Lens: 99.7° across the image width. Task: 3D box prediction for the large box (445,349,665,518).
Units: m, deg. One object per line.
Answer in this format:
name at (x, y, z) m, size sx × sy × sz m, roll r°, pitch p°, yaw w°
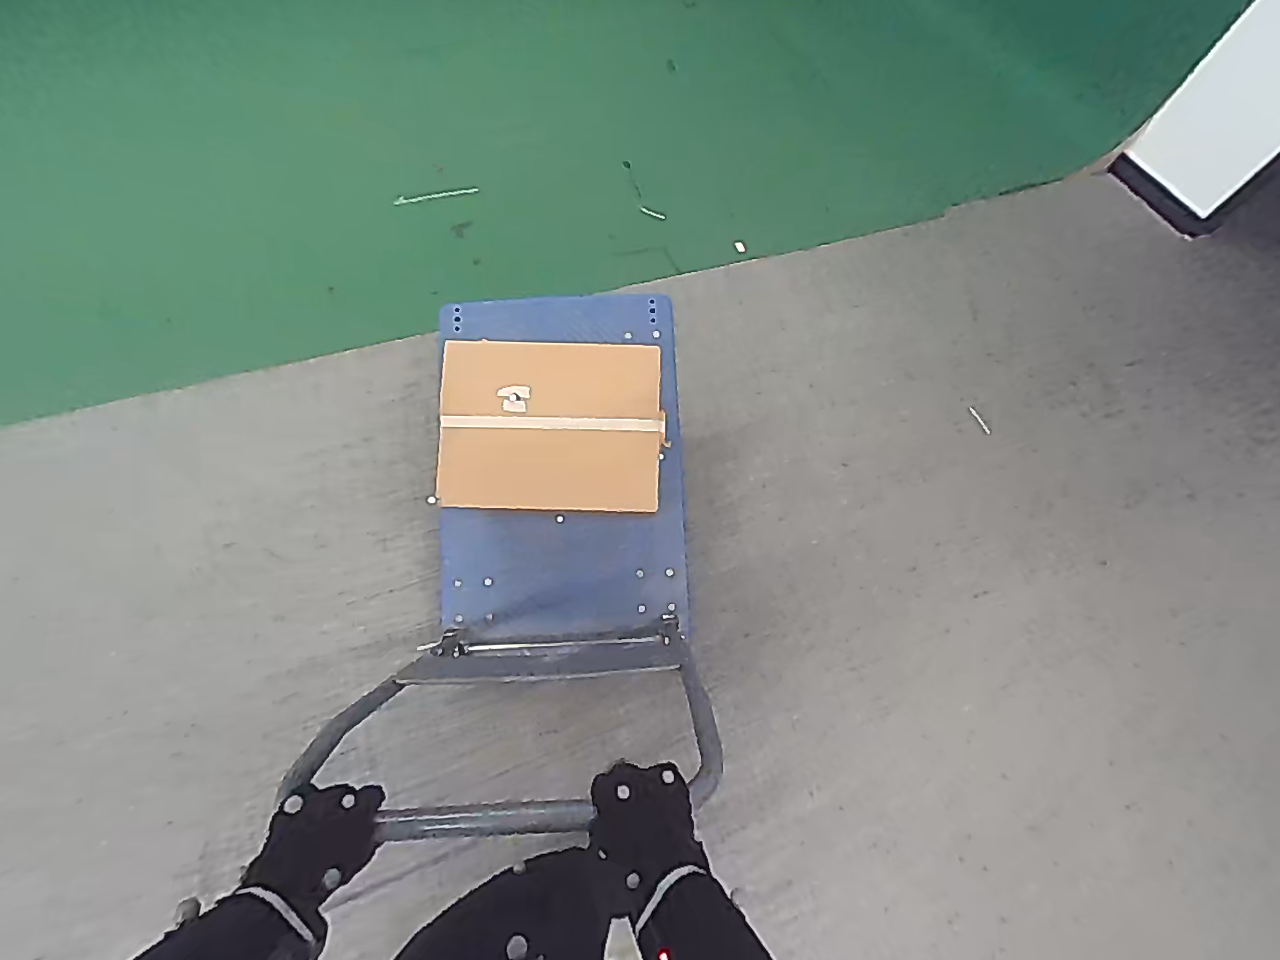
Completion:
large box at (-0.152, -0.076, 1.141) m, size 0.408 × 0.320 × 0.320 m, roll 0°, pitch 83°, yaw 1°
